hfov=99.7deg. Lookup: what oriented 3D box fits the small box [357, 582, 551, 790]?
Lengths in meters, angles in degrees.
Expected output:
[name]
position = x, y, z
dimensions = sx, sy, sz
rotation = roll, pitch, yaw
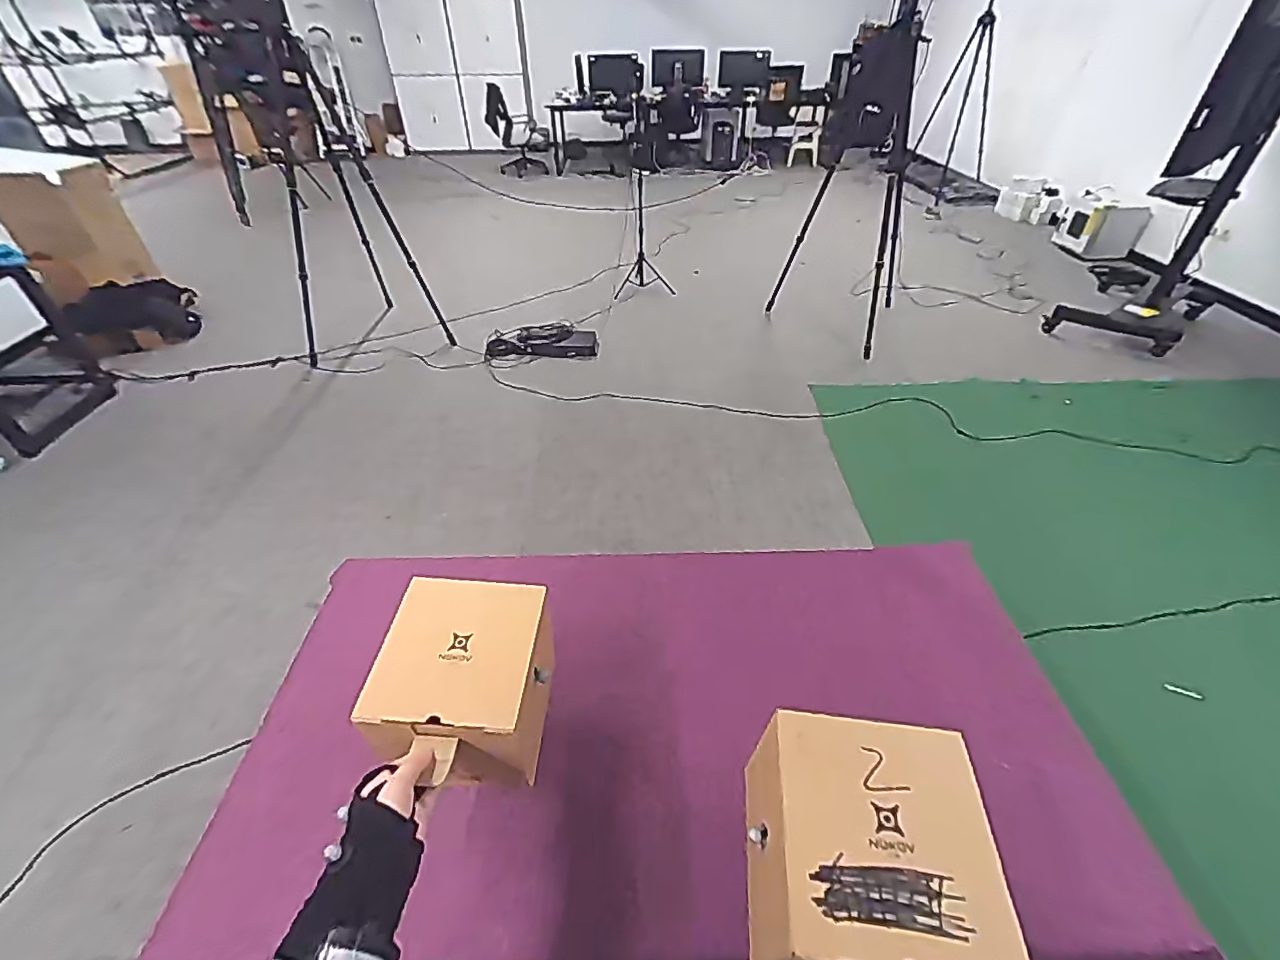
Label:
[small box]
position = -0.205, 0.249, 0.659
dimensions = 0.168, 0.176, 0.179
rotation = 4, 44, 1
